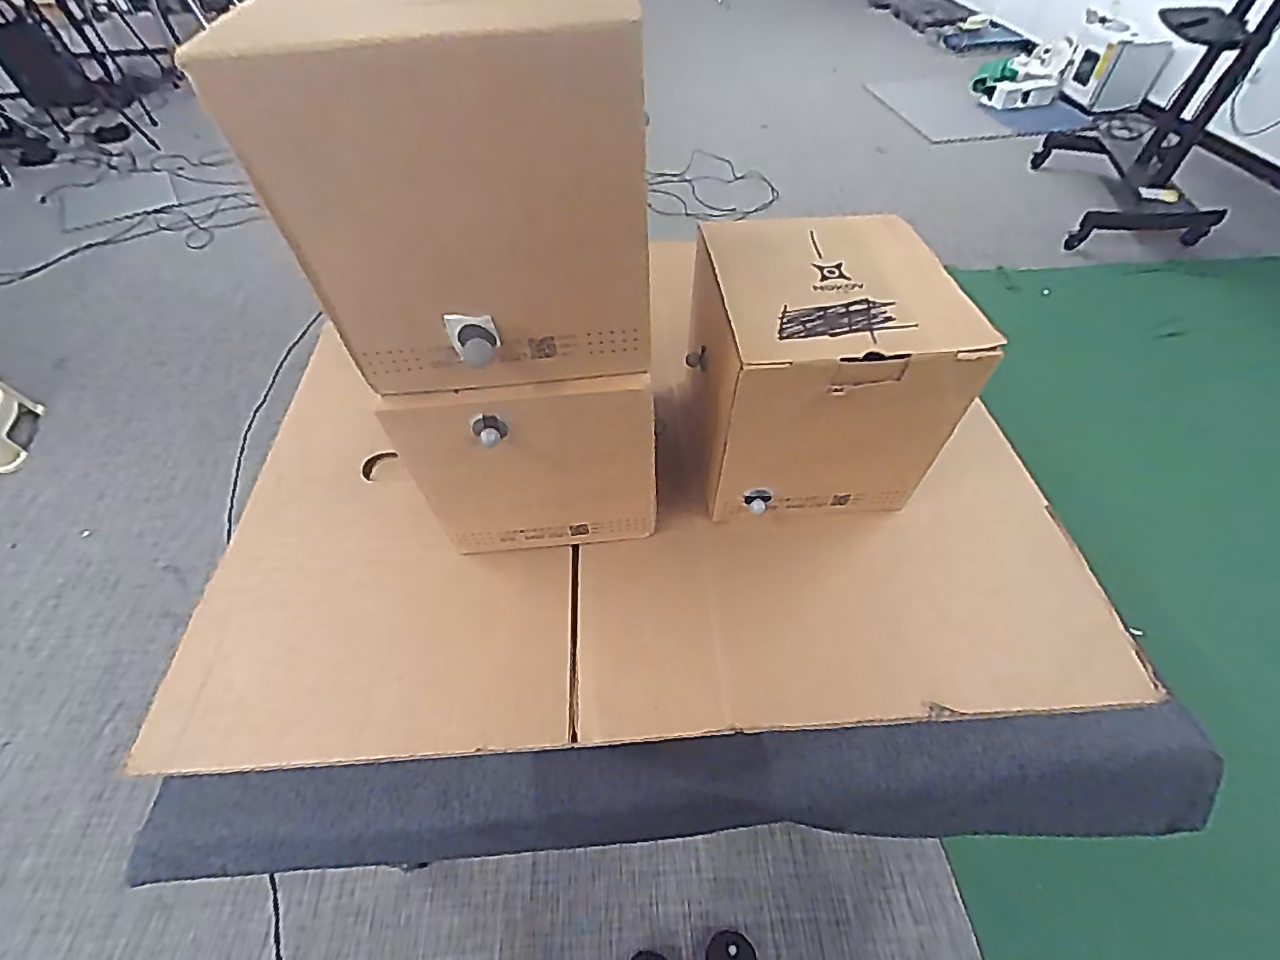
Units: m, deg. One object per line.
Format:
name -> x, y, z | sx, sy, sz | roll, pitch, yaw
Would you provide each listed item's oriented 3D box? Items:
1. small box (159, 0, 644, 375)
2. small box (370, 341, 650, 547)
small box -> -0.089, -0.183, 0.299 | 0.168, 0.176, 0.179 | -7, 54, -2
small box -> -0.081, -0.067, 0.434 | 0.168, 0.176, 0.179 | -5, 52, 0
